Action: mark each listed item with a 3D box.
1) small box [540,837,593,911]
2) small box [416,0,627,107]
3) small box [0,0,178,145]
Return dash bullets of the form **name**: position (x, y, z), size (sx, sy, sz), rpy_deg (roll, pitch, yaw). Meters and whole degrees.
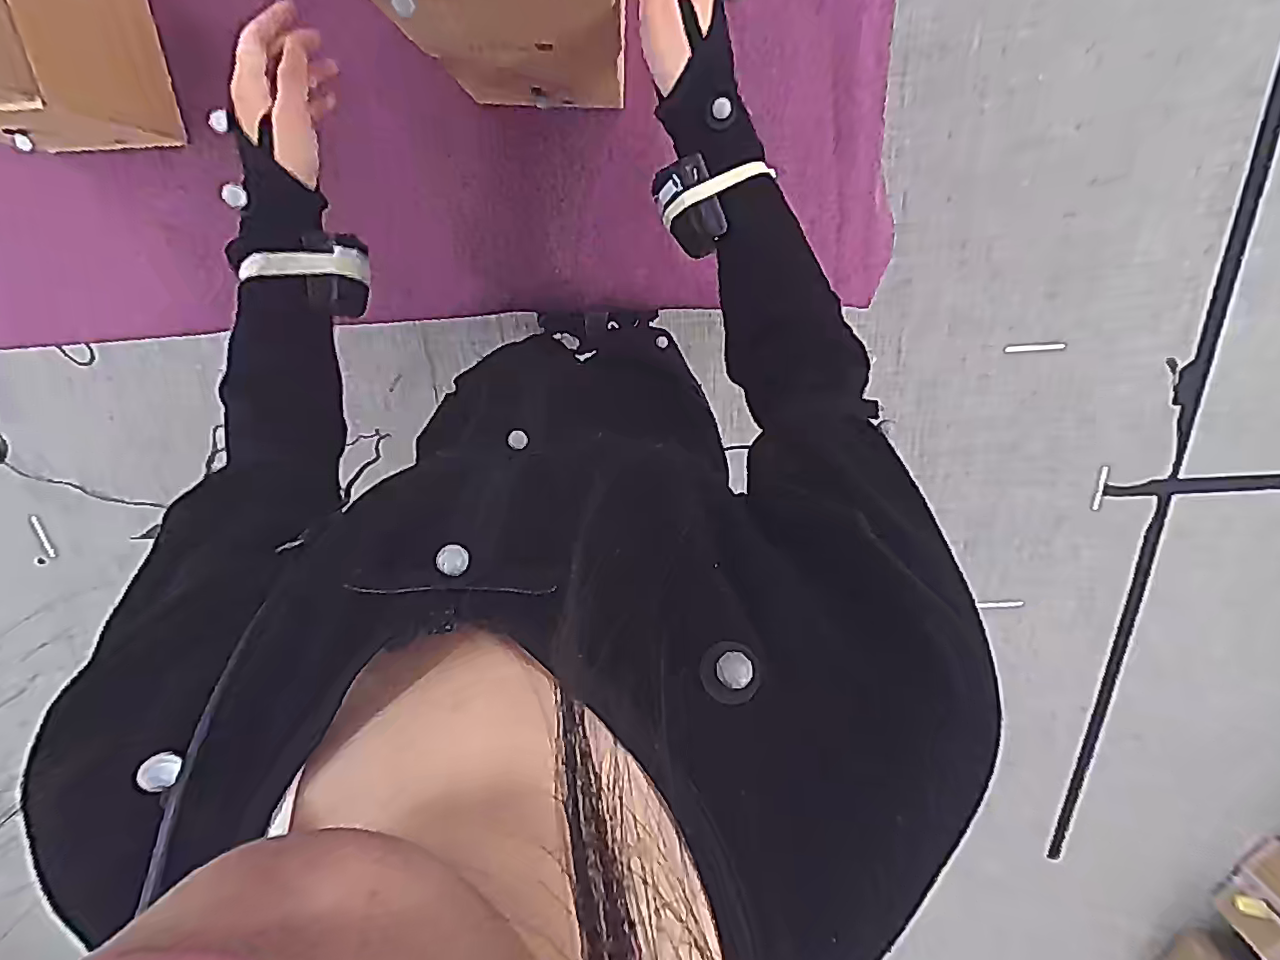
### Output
- **small box**: position (-0.274, 1.479, 2.037), size (0.168, 0.176, 0.179), rpy_deg (-4, 112, 3)
- **small box**: position (-0.098, -0.472, 0.495), size (0.168, 0.176, 0.179), rpy_deg (2, 111, 0)
- **small box**: position (-0.599, -0.432, 0.512), size (0.168, 0.176, 0.179), rpy_deg (-2, 111, 1)
